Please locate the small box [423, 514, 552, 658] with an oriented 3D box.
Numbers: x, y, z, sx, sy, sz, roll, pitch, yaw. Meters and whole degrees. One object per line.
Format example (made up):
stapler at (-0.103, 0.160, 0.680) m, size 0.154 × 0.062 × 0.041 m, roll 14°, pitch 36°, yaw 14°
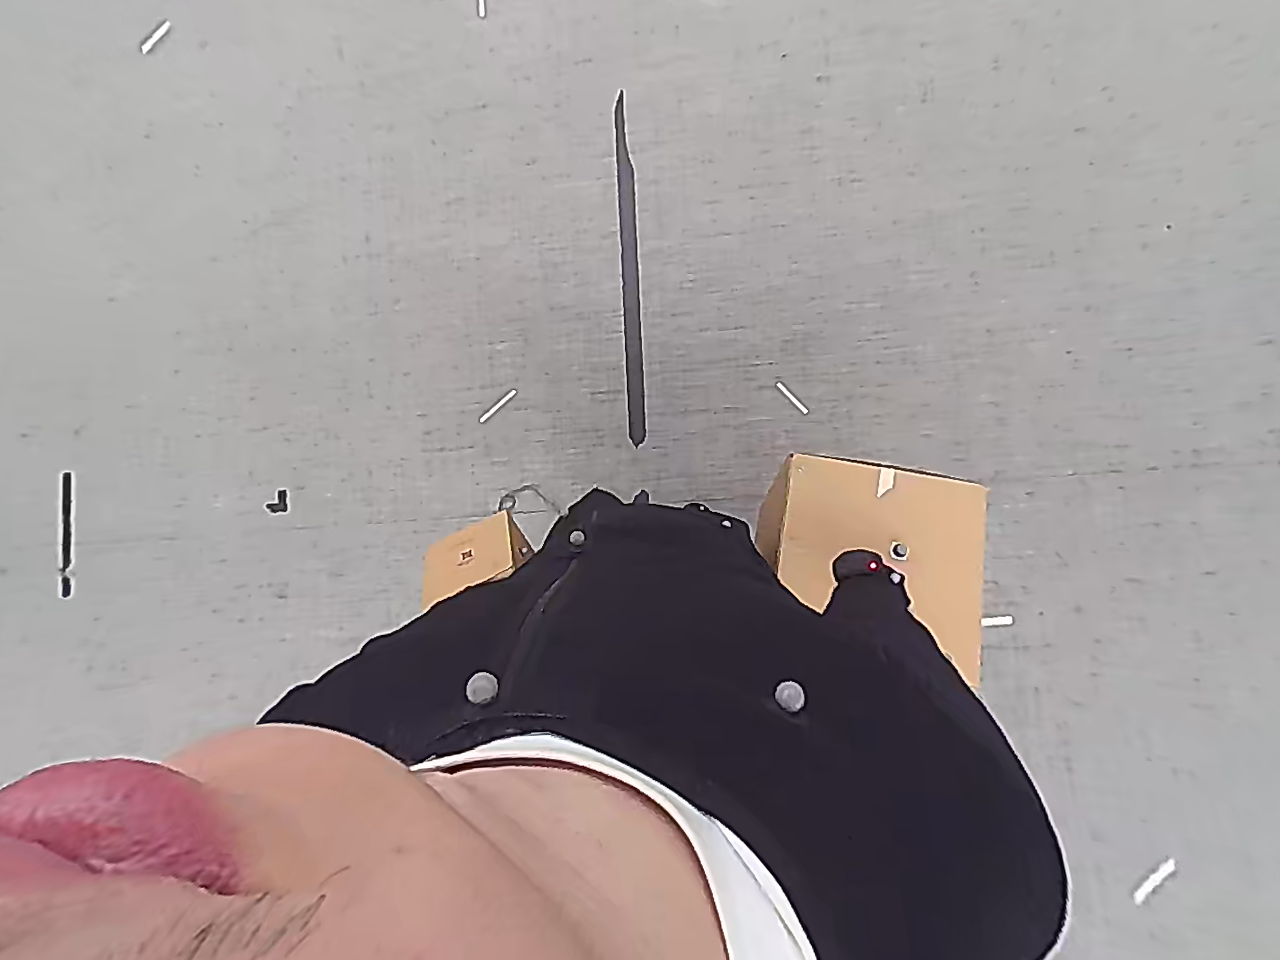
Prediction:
small box at (-0.275, 0.200, 0.996) m, size 0.168 × 0.179 × 0.176 m, roll -25°, pitch 123°, yaw -2°
